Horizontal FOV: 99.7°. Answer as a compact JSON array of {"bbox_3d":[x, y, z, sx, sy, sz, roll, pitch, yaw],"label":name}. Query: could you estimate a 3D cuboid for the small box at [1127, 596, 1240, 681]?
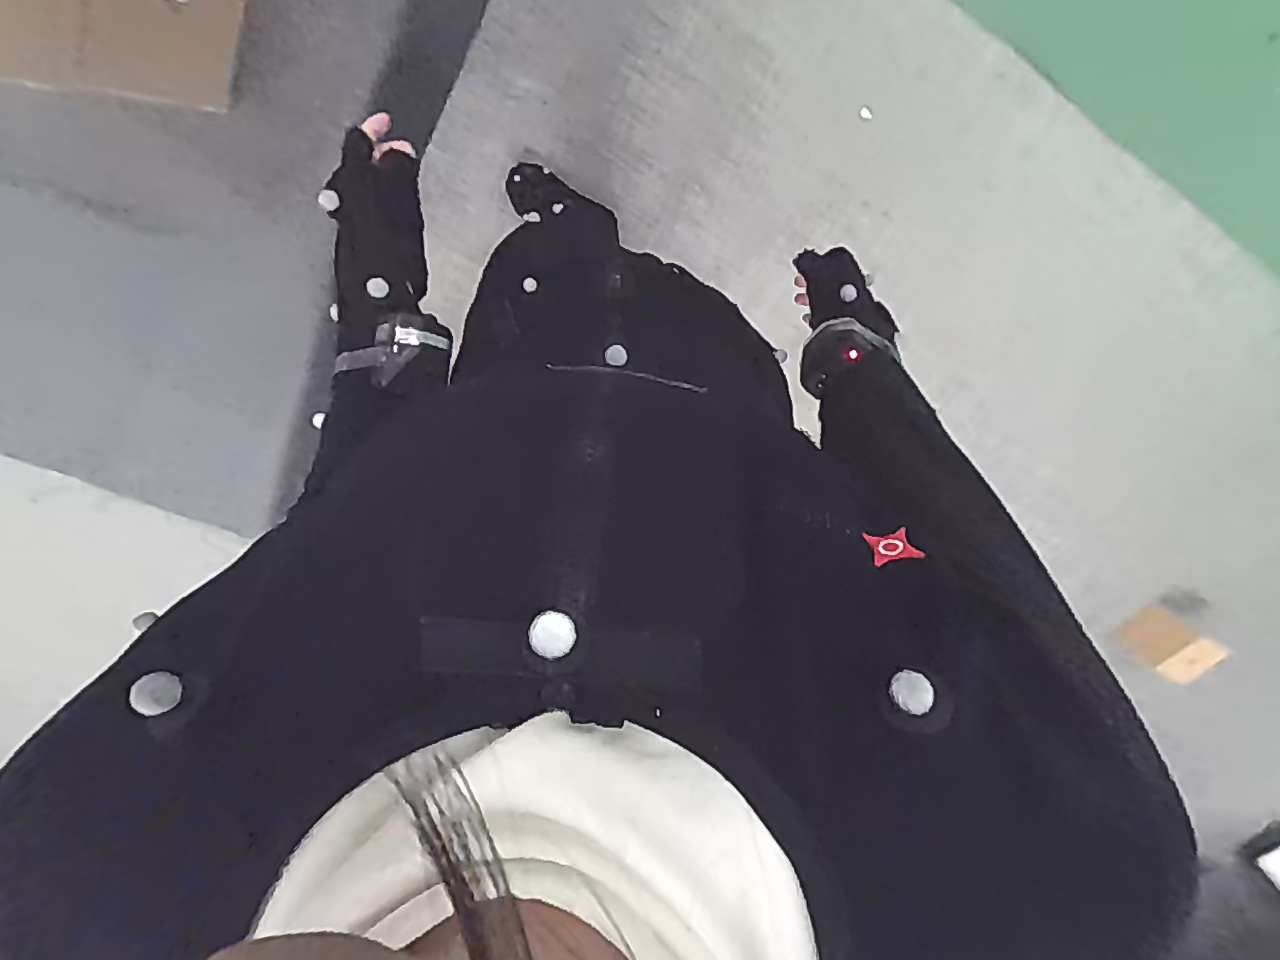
[{"bbox_3d":[1.771,0.518,1.781,0.168,0.176,0.179,25,113,-15],"label":"small box"}]
